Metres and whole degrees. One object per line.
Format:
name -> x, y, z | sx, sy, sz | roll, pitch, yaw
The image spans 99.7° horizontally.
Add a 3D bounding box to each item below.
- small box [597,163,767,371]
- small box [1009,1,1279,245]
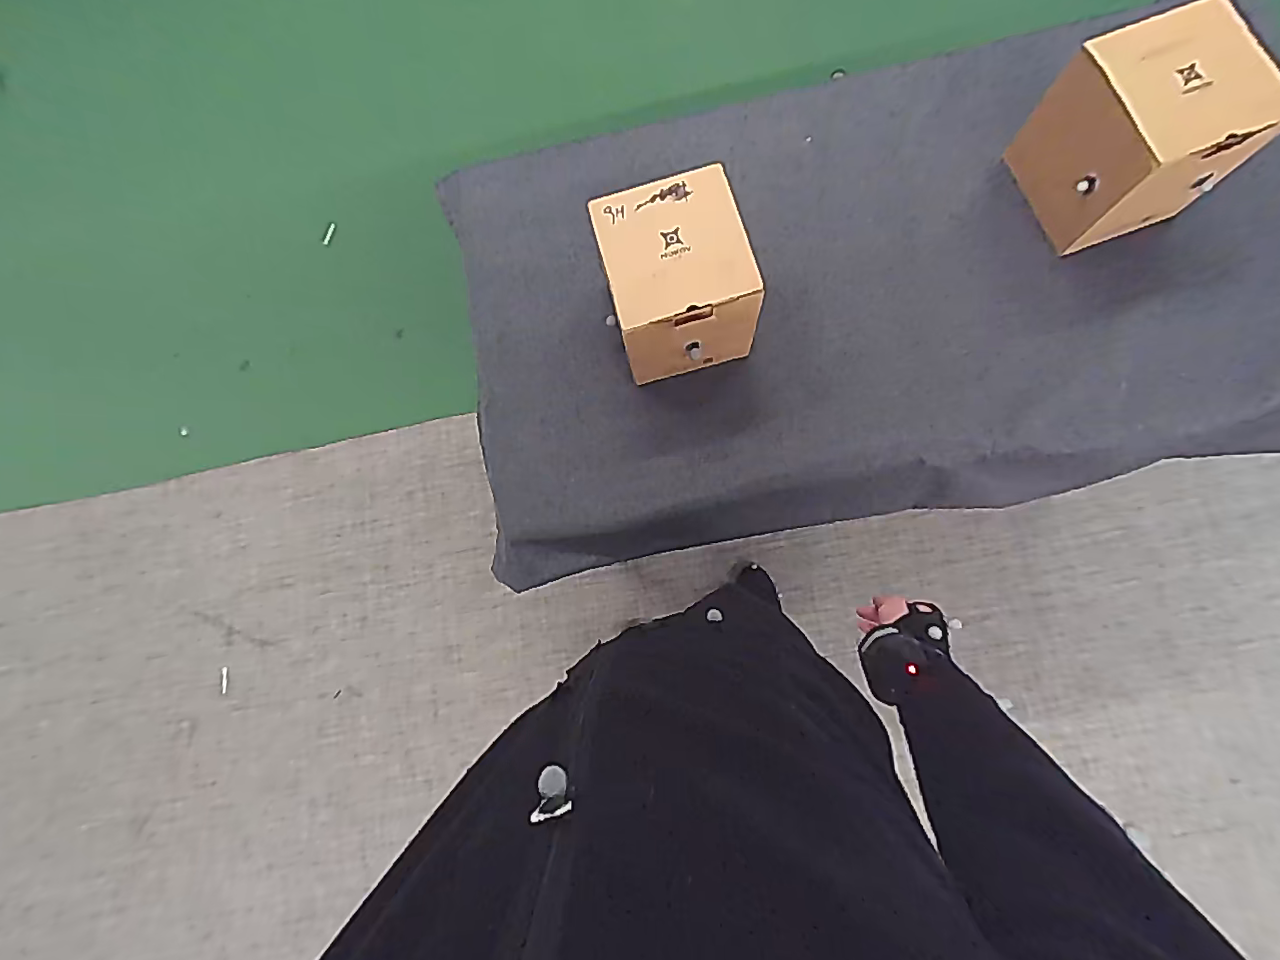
small box -> 0.054, -0.257, 0.699 | 0.168, 0.176, 0.179 | -15, 78, 2
small box -> 0.619, -0.425, 0.677 | 0.168, 0.176, 0.179 | -19, 77, 0
